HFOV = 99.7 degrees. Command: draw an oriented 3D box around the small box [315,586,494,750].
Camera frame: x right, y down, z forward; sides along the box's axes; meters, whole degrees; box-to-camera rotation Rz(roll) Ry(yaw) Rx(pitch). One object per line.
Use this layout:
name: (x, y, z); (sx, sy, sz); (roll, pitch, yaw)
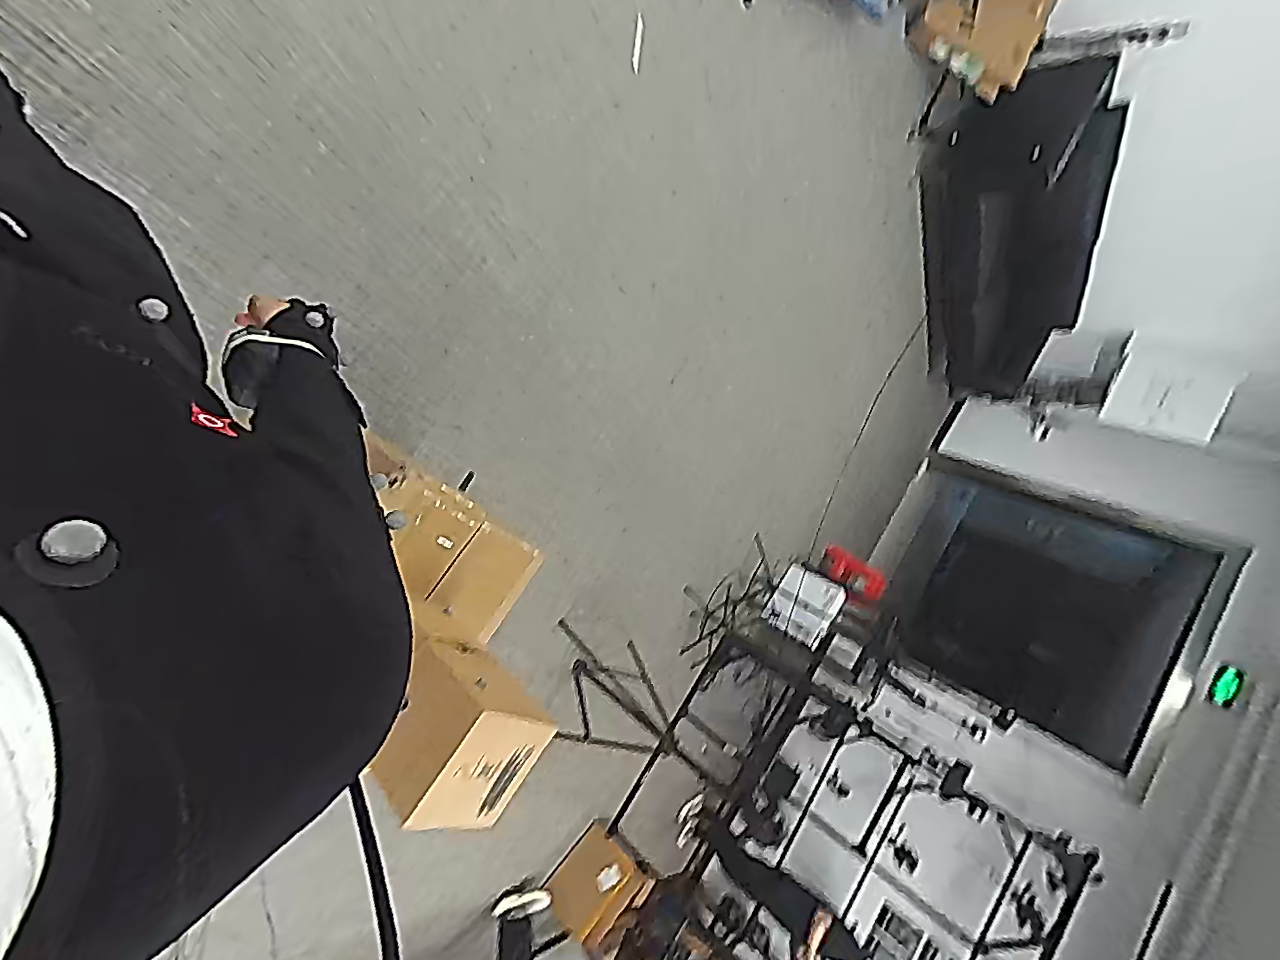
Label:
small box: (-0.382, 0.299, 0.875); (0.179, 0.176, 0.168); (-54, 142, -11)
